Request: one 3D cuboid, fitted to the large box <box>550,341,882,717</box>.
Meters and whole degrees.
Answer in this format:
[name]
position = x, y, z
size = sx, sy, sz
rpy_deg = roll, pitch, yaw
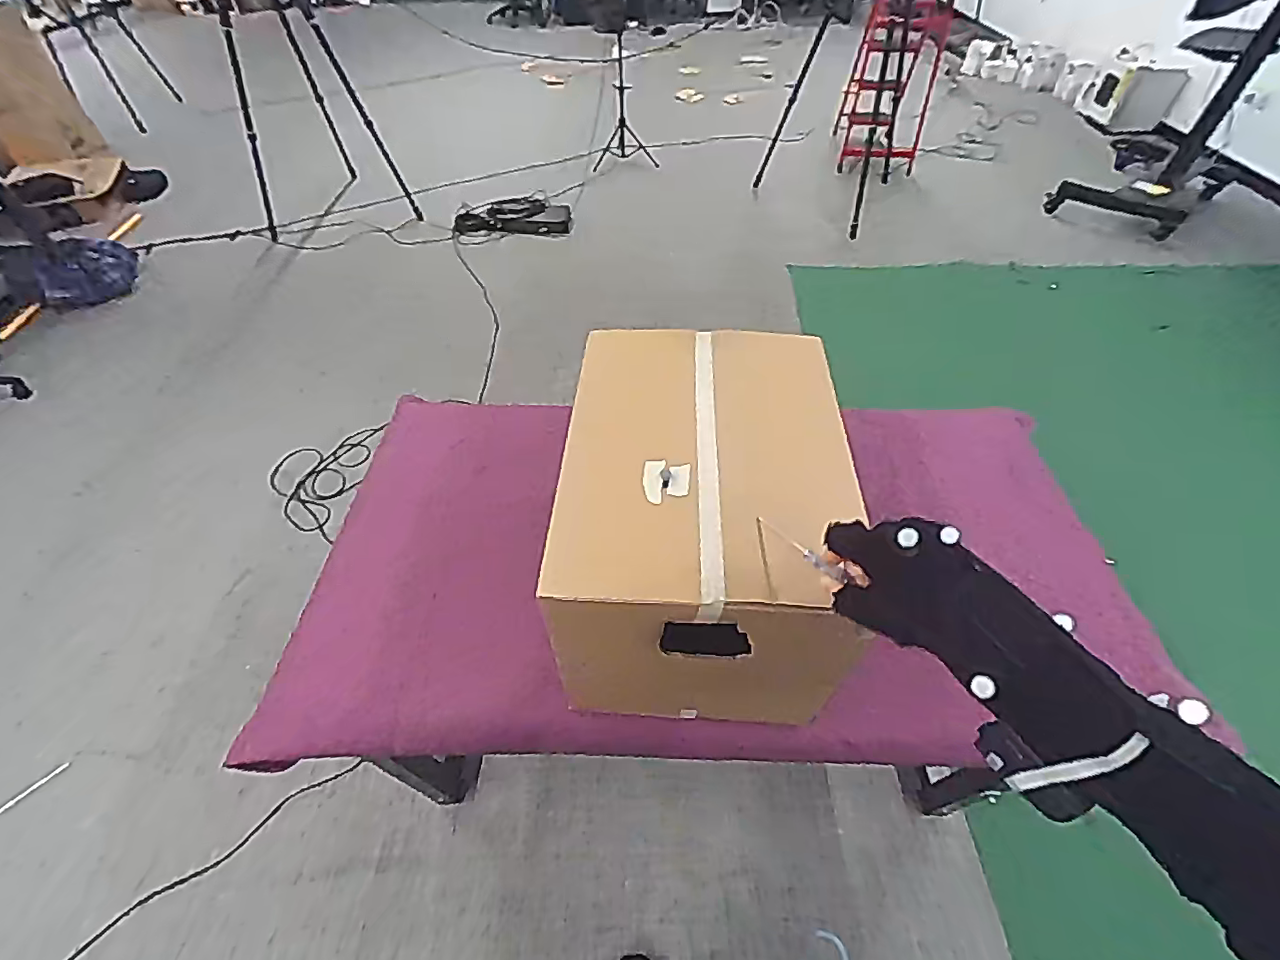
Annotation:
[large box]
position = 0.075, 0.062, 0.732
size = 0.320, 0.320, 0.408
rpy_deg = 2, 51, 2
